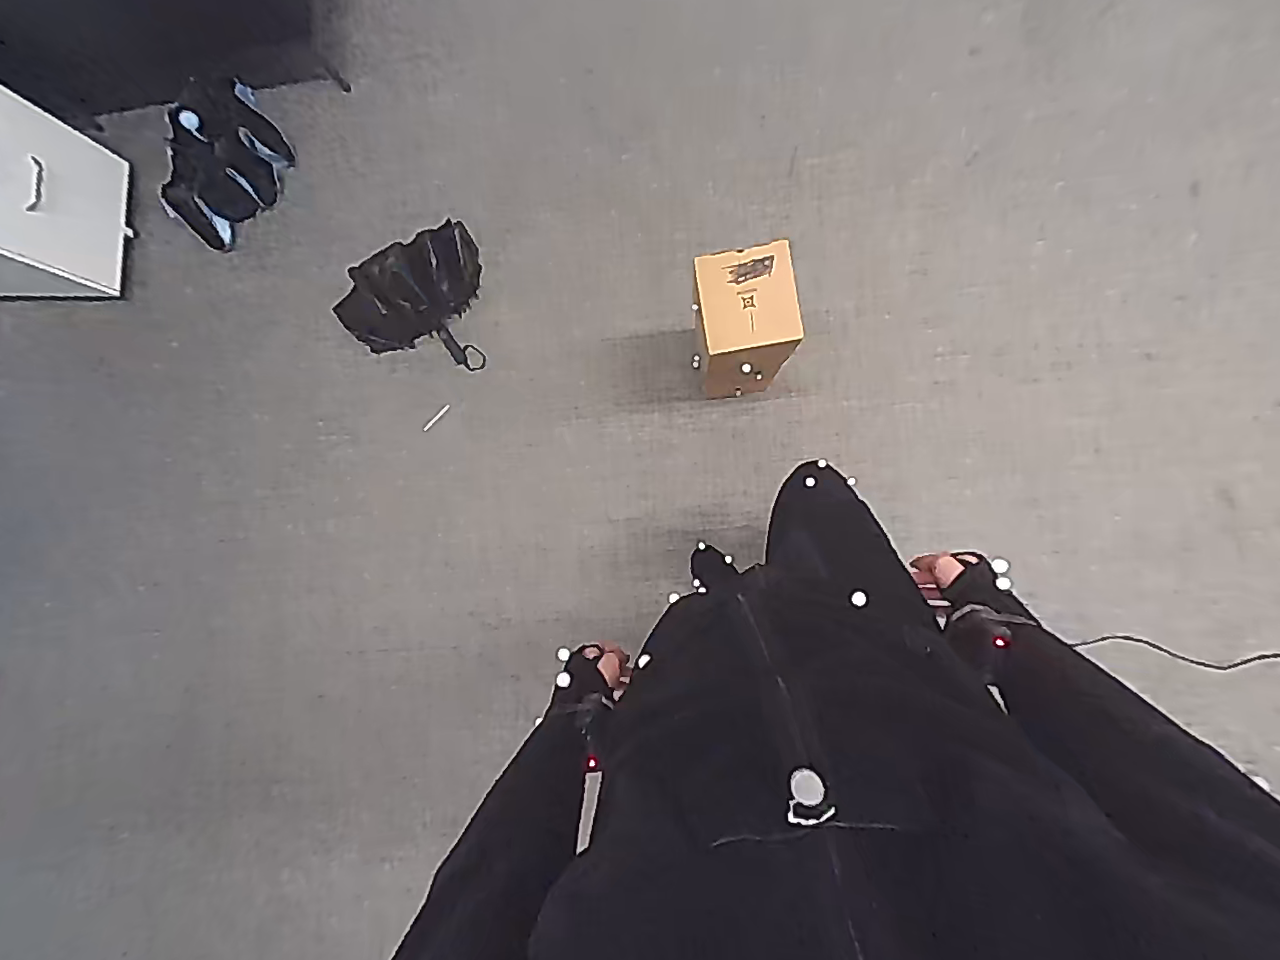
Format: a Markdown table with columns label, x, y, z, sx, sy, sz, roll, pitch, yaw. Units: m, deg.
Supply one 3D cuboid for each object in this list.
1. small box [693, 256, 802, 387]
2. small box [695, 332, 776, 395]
| label | x | y | z | sx | sy | sz | roll | pitch | yaw |
| --- | --- | --- | --- | --- | --- | --- | --- | --- | --- |
| small box | 0.192 | -0.289 | 1.017 | 0.168 | 0.176 | 0.179 | -9 | 88 | 5 |
| small box | 0.209 | -0.289 | 1.181 | 0.168 | 0.176 | 0.179 | -6 | 85 | 4 |
